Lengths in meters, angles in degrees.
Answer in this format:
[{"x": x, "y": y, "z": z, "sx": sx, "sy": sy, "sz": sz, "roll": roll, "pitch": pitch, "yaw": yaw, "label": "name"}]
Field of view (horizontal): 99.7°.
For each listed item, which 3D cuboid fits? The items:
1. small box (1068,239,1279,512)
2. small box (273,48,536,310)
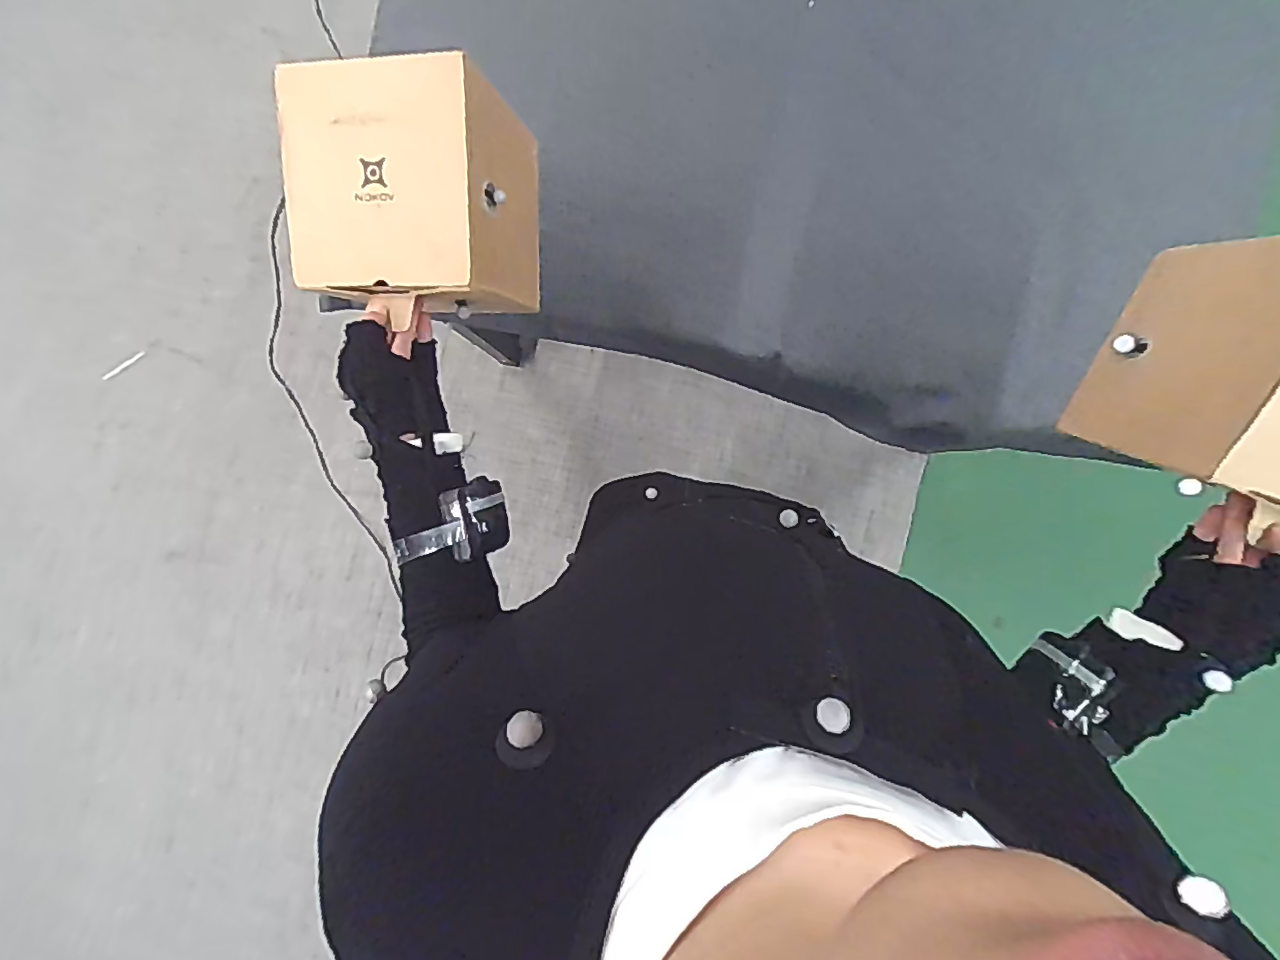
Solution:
[{"x": 0.506, "y": -0.078, "z": 0.438, "sx": 0.168, "sy": 0.176, "sz": 0.179, "roll": 18, "pitch": 109, "yaw": -4, "label": "small box"}, {"x": -0.203, "y": -0.260, "z": 0.513, "sx": 0.168, "sy": 0.176, "sz": 0.179, "roll": 3, "pitch": 100, "yaw": 8, "label": "small box"}]
